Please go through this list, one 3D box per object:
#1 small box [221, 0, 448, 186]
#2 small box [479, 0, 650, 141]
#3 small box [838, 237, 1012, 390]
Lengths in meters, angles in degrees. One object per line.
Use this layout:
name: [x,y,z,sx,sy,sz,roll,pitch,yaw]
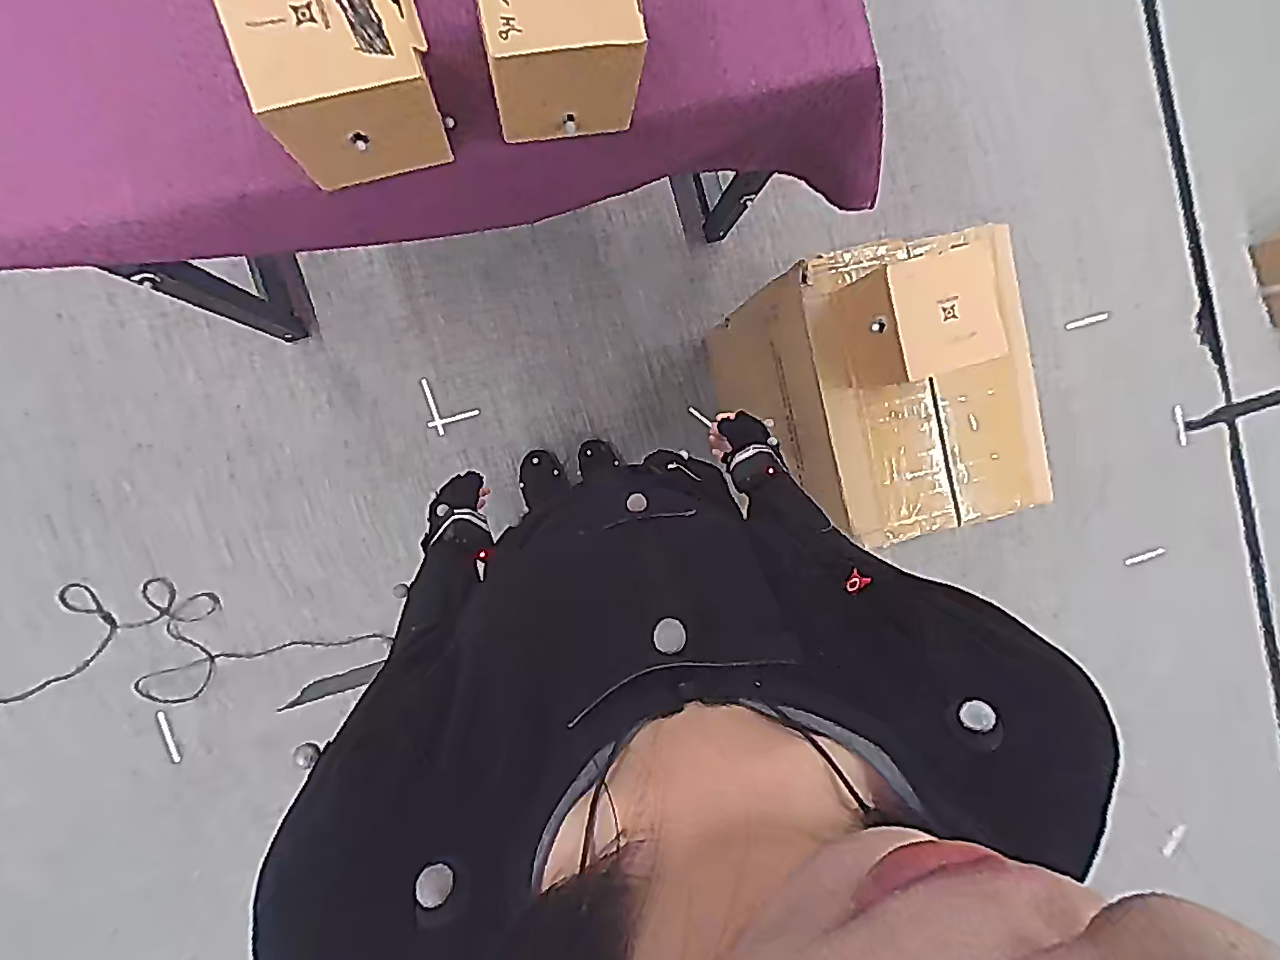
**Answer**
small box: [-0.338,-0.477,0.629,0.179,0.176,0.168,-17,94,-6]
small box: [-0.100,-0.550,0.662,0.179,0.176,0.168,-12,94,-8]
small box: [0.439,-0.253,0.860,0.168,0.176,0.179,-16,96,-4]
